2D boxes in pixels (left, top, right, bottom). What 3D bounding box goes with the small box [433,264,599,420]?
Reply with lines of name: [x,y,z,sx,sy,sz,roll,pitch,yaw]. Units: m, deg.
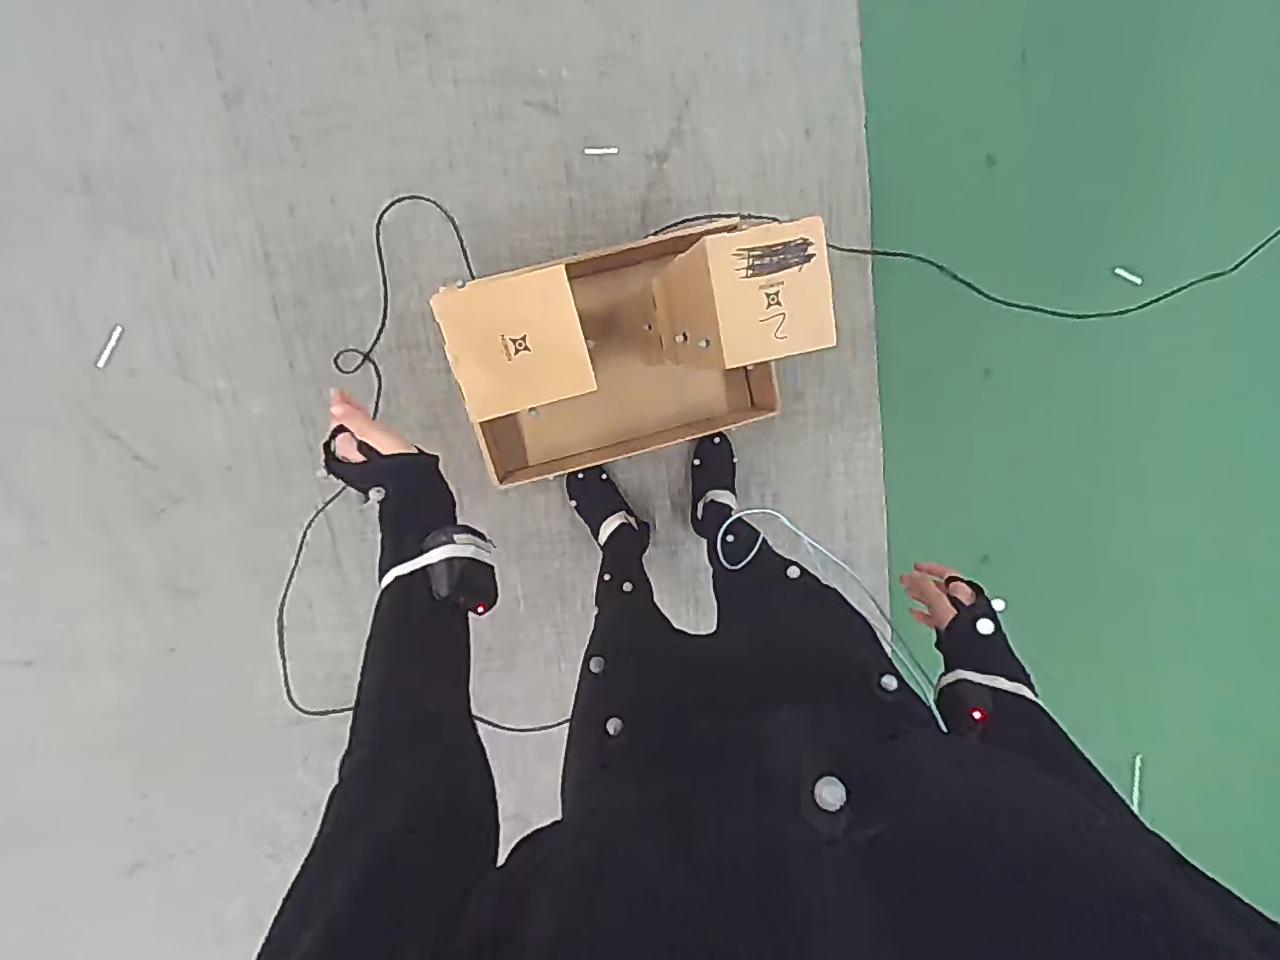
small box: [-0.168,-0.194,0.771,0.179,0.176,0.168,-16,104,-5]

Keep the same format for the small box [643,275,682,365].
small box: [0.107,-0.334,1.120,0.179,0.176,0.168,-11,102,-6]

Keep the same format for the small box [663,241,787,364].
small box: [0.145,-0.306,0.962,0.168,0.176,0.179,-11,101,-7]
